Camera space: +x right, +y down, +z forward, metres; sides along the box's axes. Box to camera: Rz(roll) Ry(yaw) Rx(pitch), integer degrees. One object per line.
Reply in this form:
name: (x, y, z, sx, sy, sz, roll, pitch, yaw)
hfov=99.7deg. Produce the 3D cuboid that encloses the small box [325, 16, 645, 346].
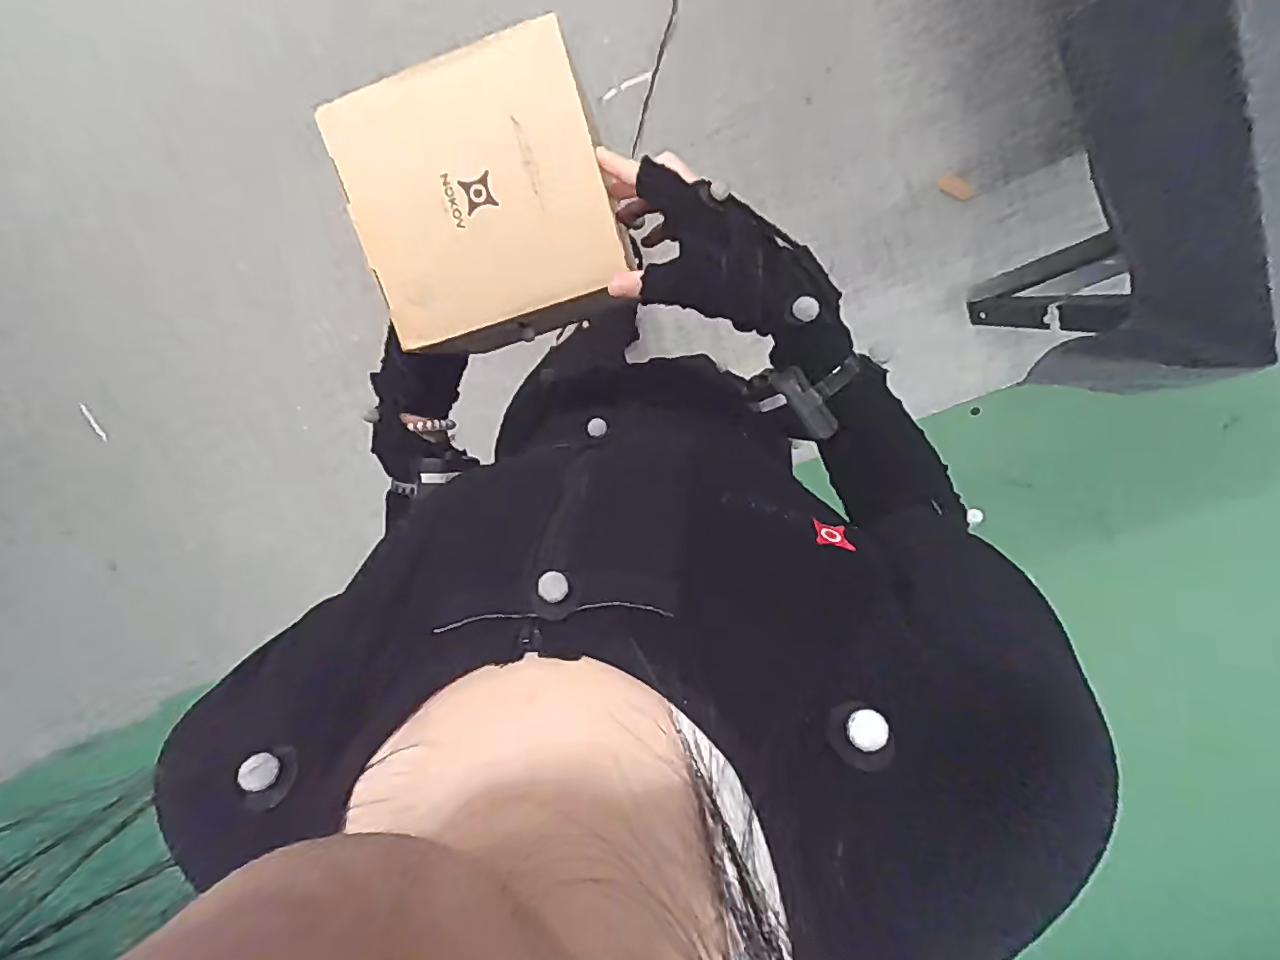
small box: (-0.103, -0.212, 0.443, 0.179, 0.176, 0.168, -14, 101, 8)
